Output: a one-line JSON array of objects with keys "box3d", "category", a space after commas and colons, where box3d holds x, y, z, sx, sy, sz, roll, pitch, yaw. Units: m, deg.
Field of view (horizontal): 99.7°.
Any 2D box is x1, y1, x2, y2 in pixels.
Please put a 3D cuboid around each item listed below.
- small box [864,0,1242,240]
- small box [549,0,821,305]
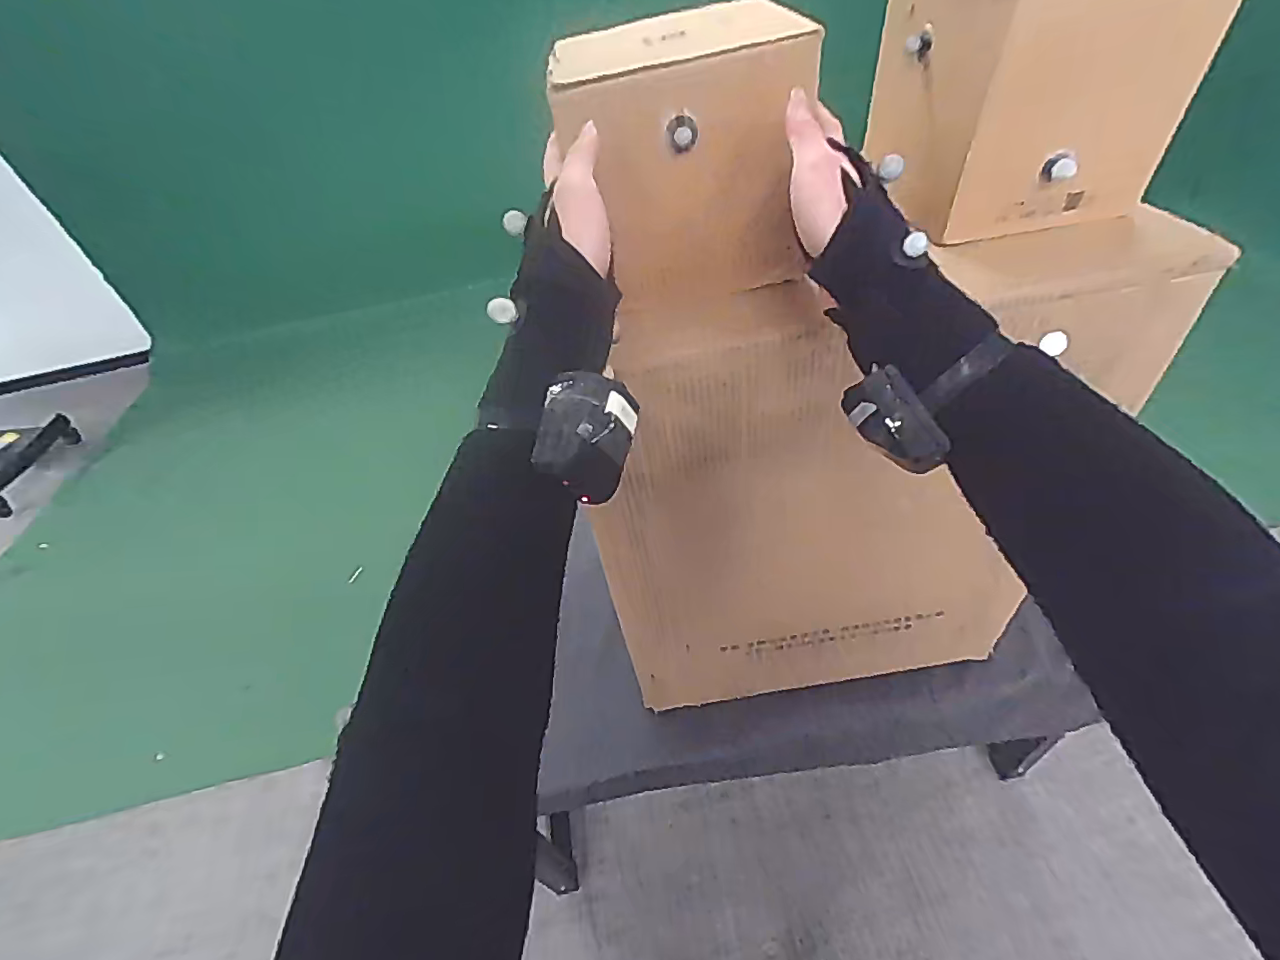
[{"box3d": [0.311, -0.325, 0.454, 0.168, 0.176, 0.179, -9, 47, 0], "category": "small box"}, {"box3d": [0.032, -0.264, 0.448, 0.179, 0.176, 0.168, -8, 48, 2], "category": "small box"}]
